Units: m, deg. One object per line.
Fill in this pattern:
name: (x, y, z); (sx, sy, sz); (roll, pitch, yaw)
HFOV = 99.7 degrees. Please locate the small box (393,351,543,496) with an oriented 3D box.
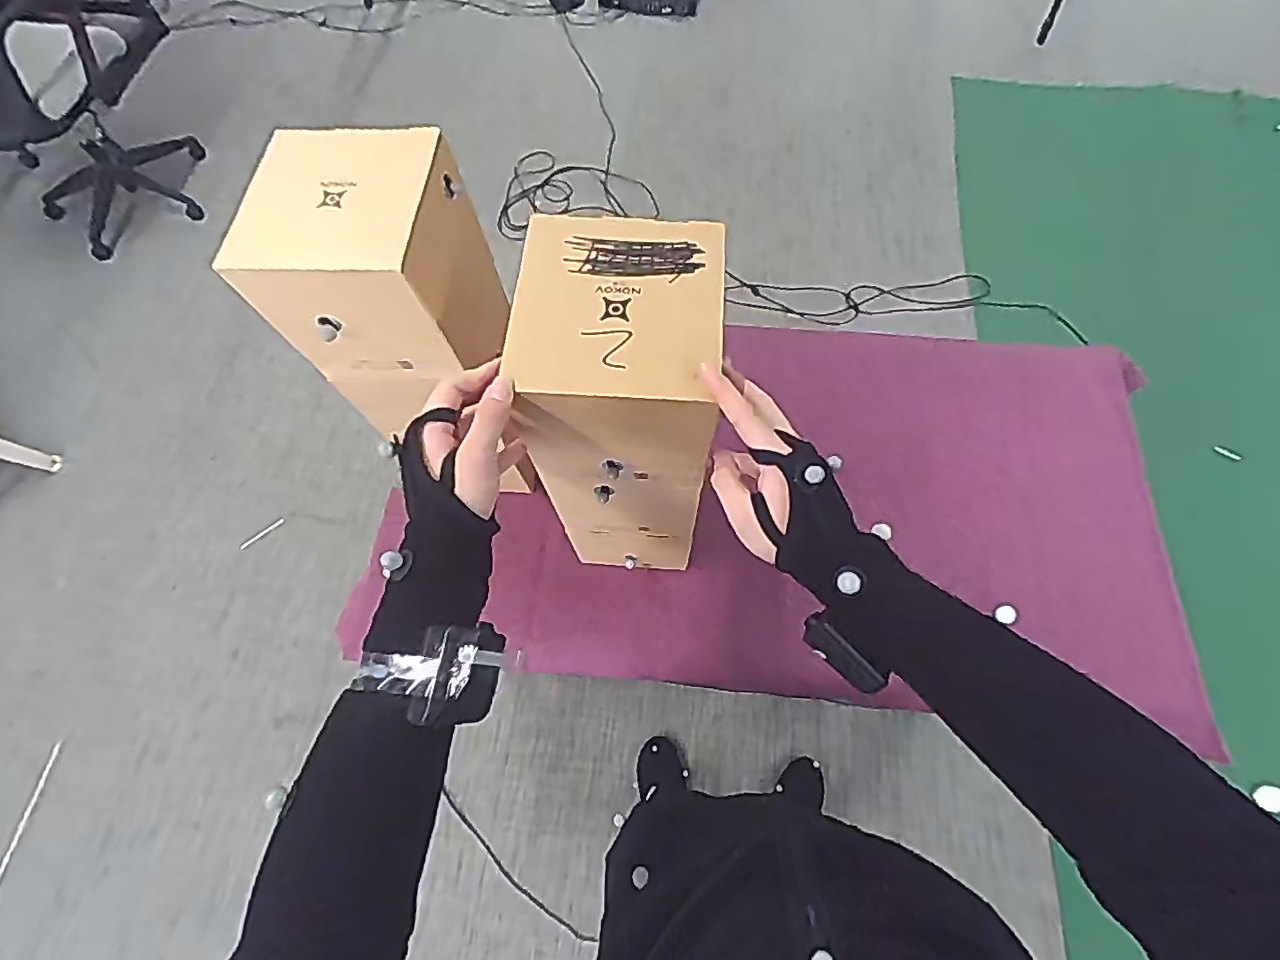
small box: (-0.256, -0.089, 0.855); (0.168, 0.176, 0.179); (3, 68, 4)

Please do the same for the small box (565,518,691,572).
small box: (-0.007, 0.026, 0.797); (0.168, 0.176, 0.179); (4, 67, 4)

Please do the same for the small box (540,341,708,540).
small box: (-0.011, -0.041, 0.648); (0.168, 0.176, 0.179); (4, 67, 4)

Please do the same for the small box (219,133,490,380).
small box: (-0.267, -0.218, 0.556); (0.168, 0.176, 0.179); (2, 67, 4)

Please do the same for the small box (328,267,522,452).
small box: (-0.260, -0.154, 0.706); (0.168, 0.176, 0.179); (3, 68, 4)
